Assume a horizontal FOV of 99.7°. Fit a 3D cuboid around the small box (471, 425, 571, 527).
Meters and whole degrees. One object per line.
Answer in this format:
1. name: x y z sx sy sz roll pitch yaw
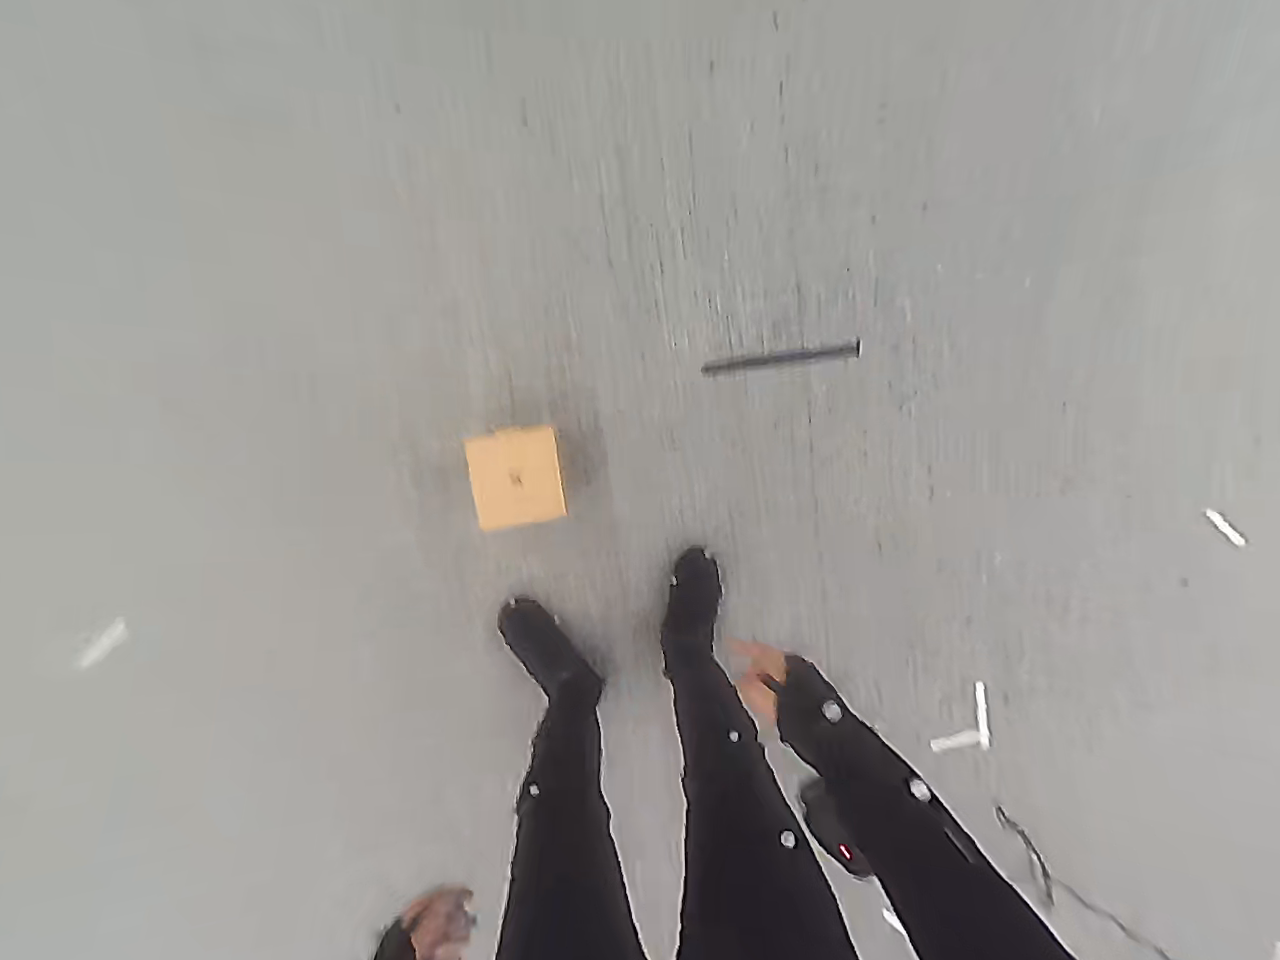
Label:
1. small box: -0.232 -0.014 1.091 0.168 0.176 0.179 -8 96 -4
